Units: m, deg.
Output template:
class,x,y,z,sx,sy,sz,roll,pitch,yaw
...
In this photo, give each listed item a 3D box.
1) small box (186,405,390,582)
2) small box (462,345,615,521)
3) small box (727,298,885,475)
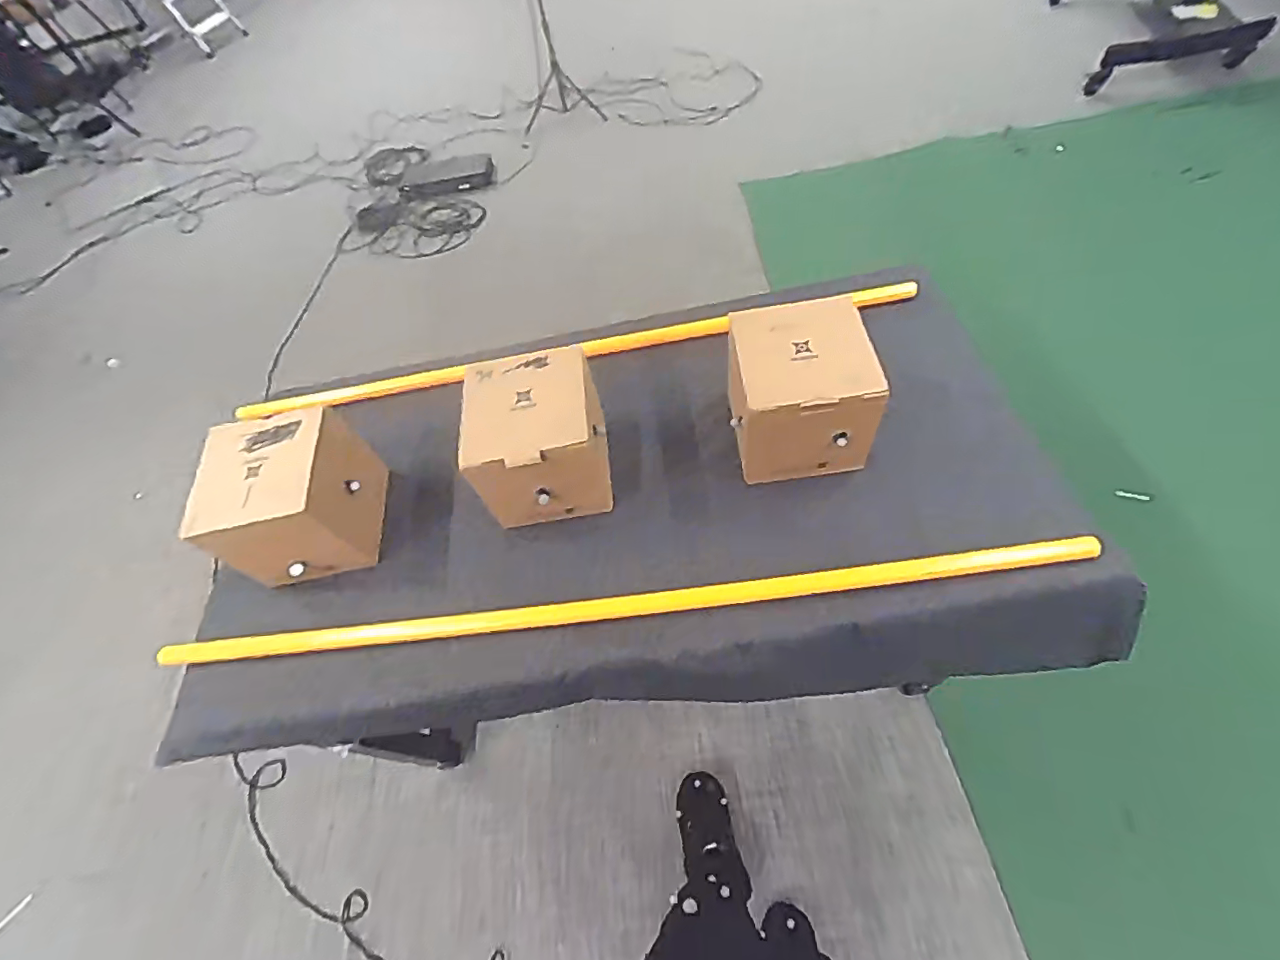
class,x,y,z,sx,sy,sz,roll,pitch,yaw
small box,-0.482,0.024,0.775,0.168,0.176,0.179,-12,57,2
small box,-0.139,-0.057,0.772,0.168,0.176,0.179,-13,56,3
small box,0.215,-0.119,0.749,0.168,0.176,0.179,-7,56,4
